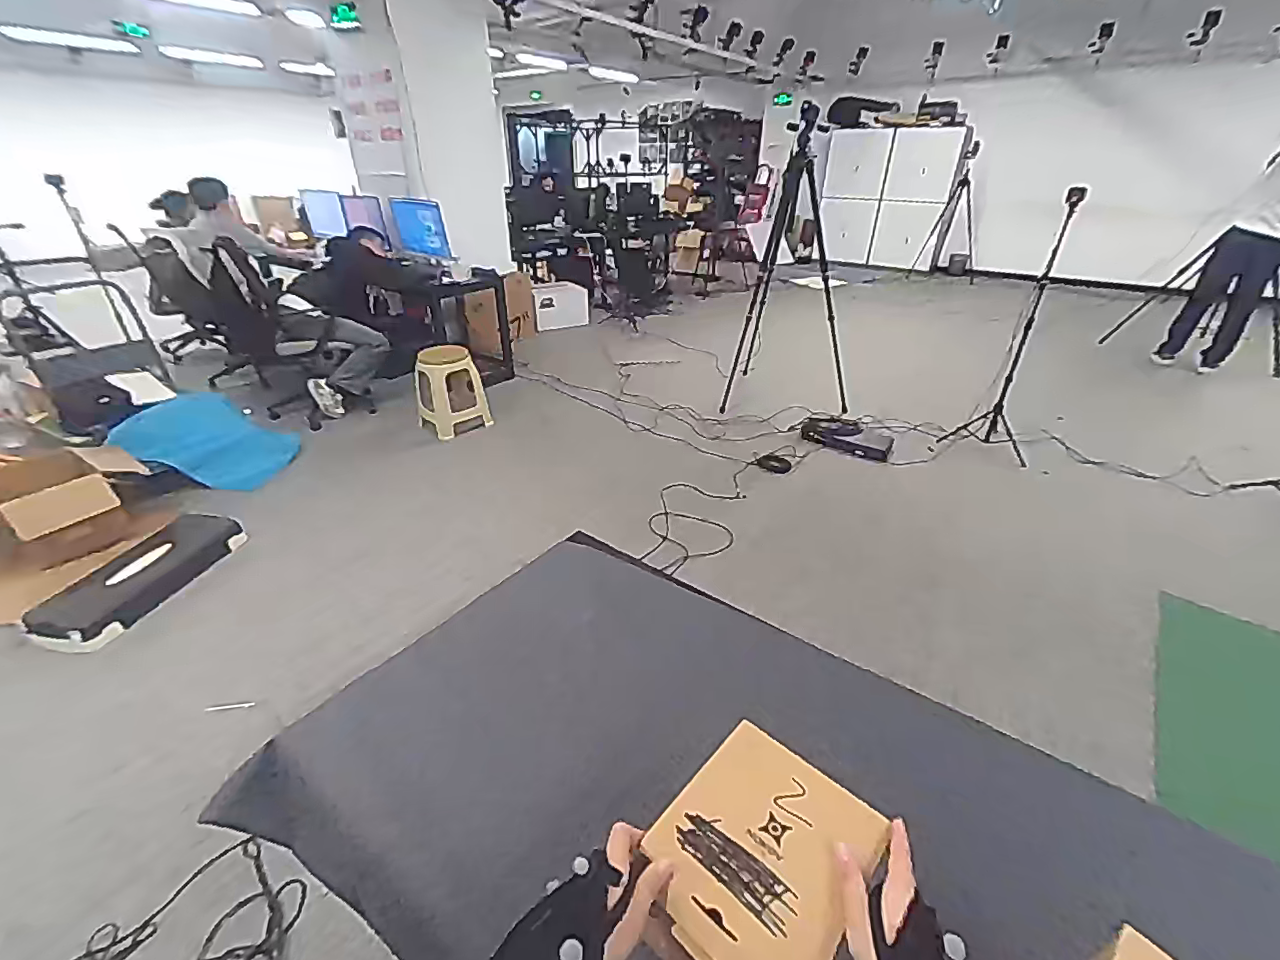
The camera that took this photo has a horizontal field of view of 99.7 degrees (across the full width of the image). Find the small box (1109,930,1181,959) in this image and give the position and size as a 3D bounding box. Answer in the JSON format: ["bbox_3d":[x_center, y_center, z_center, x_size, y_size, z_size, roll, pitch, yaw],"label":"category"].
[{"bbox_3d":[0.381,0.483,0.370,0.168,0.176,0.179,-21,35,-32],"label":"small box"}]
